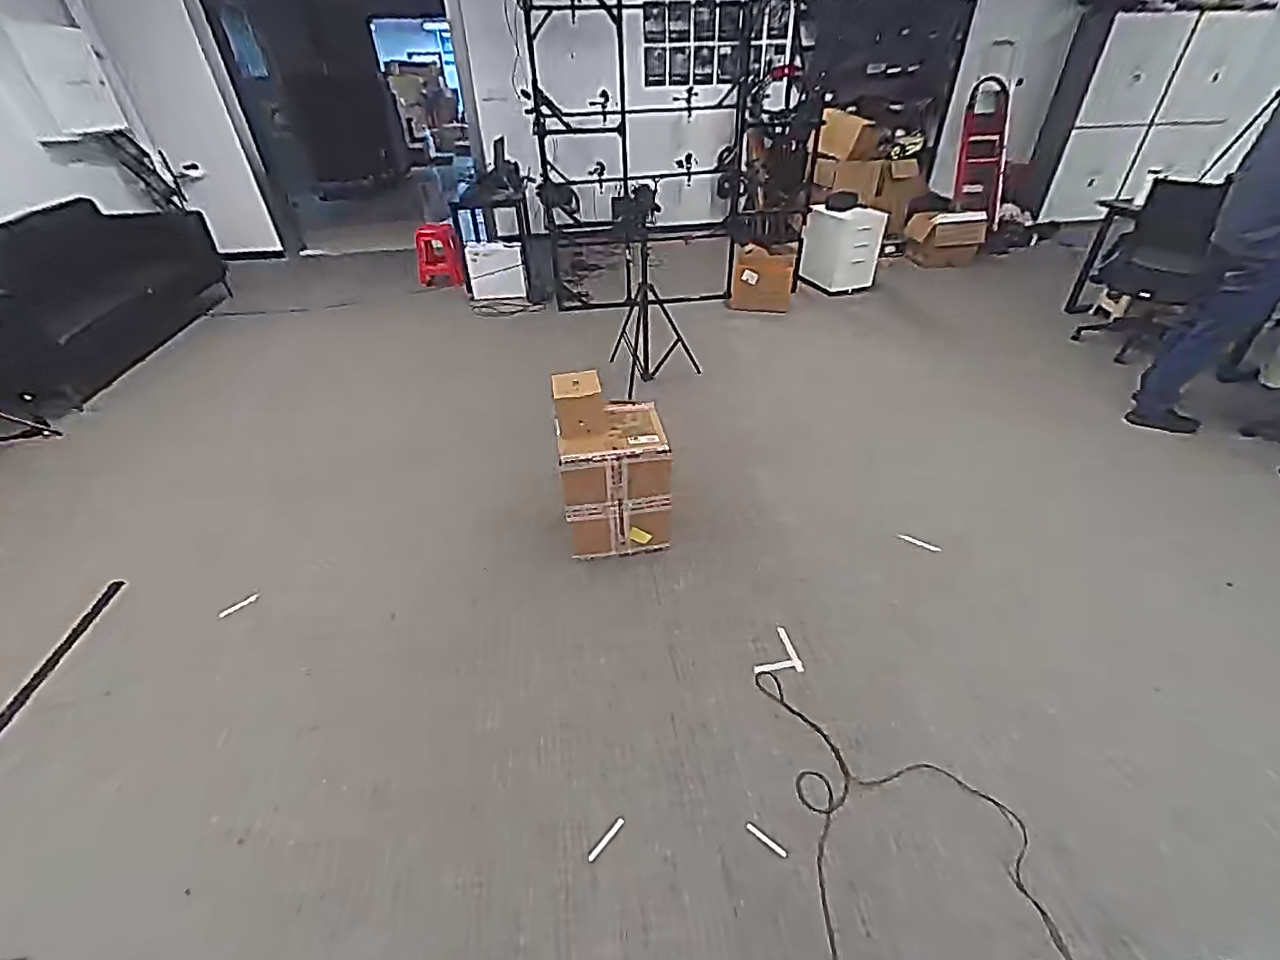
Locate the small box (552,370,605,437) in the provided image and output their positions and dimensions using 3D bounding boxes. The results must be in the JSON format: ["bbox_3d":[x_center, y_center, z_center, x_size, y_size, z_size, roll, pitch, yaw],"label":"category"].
[{"bbox_3d":[-0.225,-0.277,1.968,0.168,0.176,0.179,-9,40,-6],"label":"small box"}]
